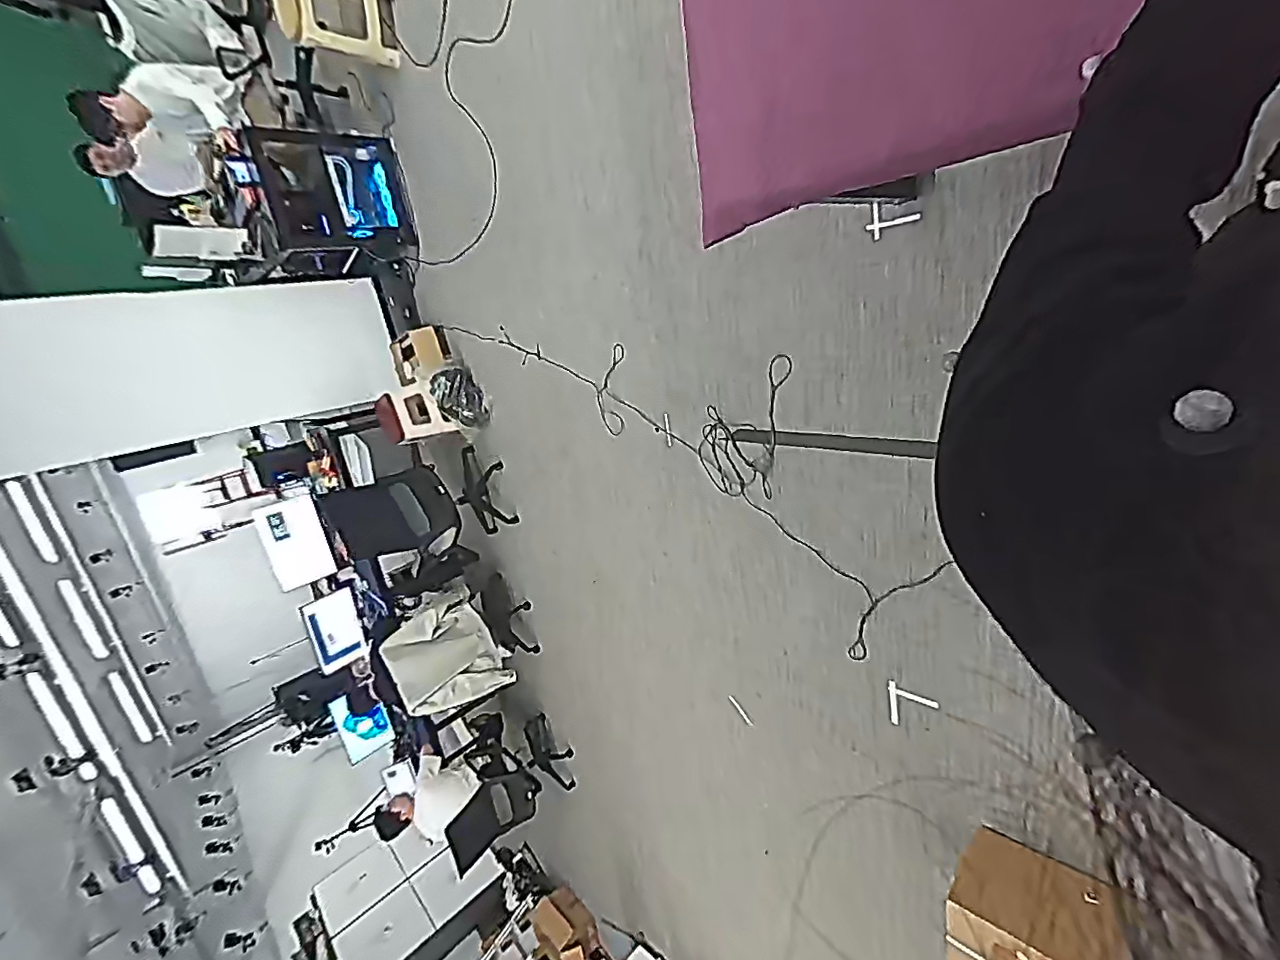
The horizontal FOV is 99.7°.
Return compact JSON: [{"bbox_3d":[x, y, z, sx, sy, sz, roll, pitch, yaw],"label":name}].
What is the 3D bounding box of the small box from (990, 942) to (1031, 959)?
[{"bbox_3d":[0.996,1.377,1.401,0.168,0.176,0.179,5,112,47],"label":"small box"}]
